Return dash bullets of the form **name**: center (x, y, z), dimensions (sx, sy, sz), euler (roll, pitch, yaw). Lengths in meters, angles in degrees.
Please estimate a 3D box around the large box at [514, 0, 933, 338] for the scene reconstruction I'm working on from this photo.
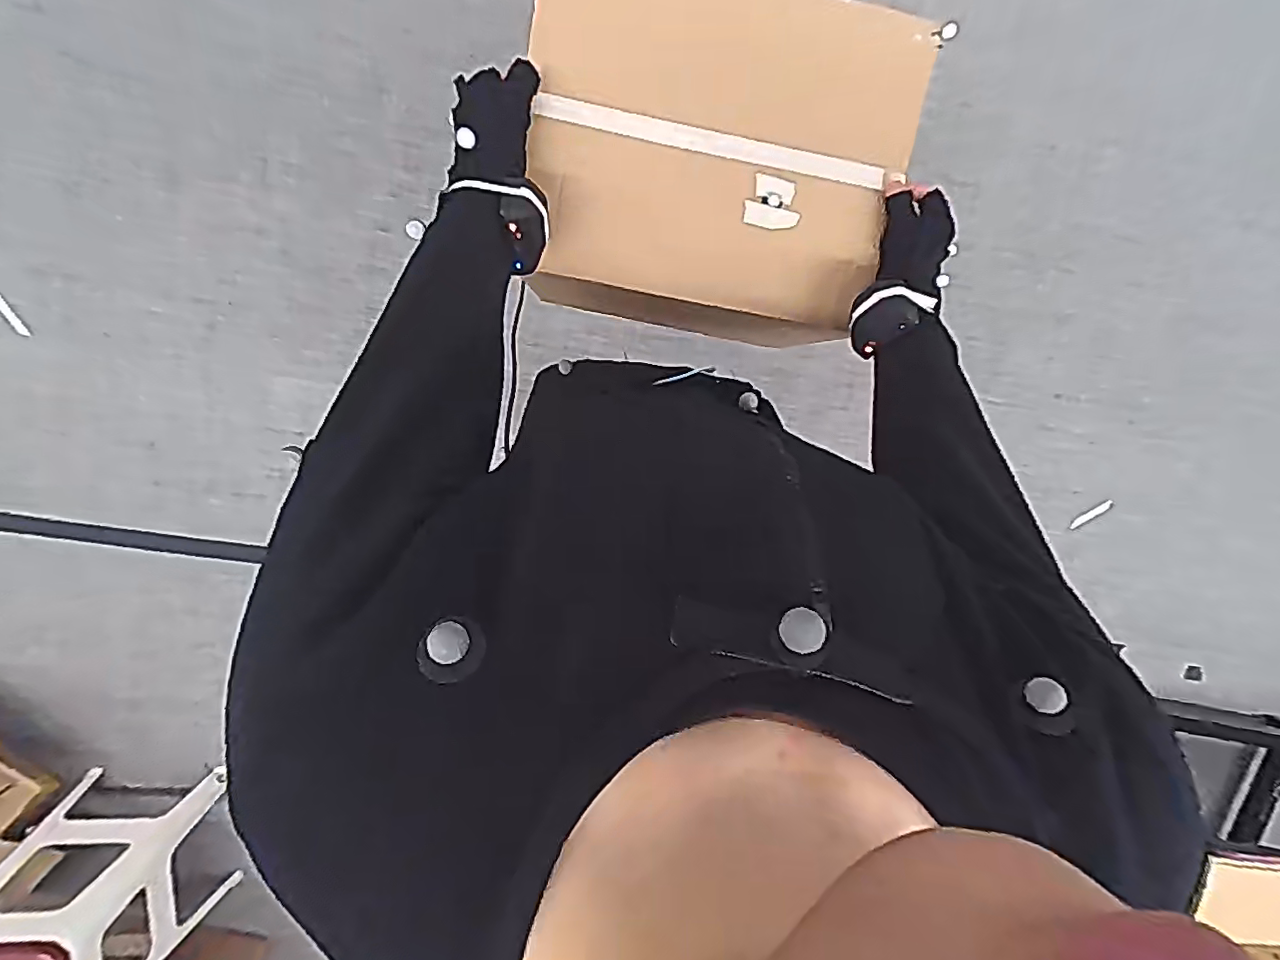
- **large box**: center (0.074, -0.384, 0.712), dimensions (0.408, 0.320, 0.320), euler (10, 102, -6)
